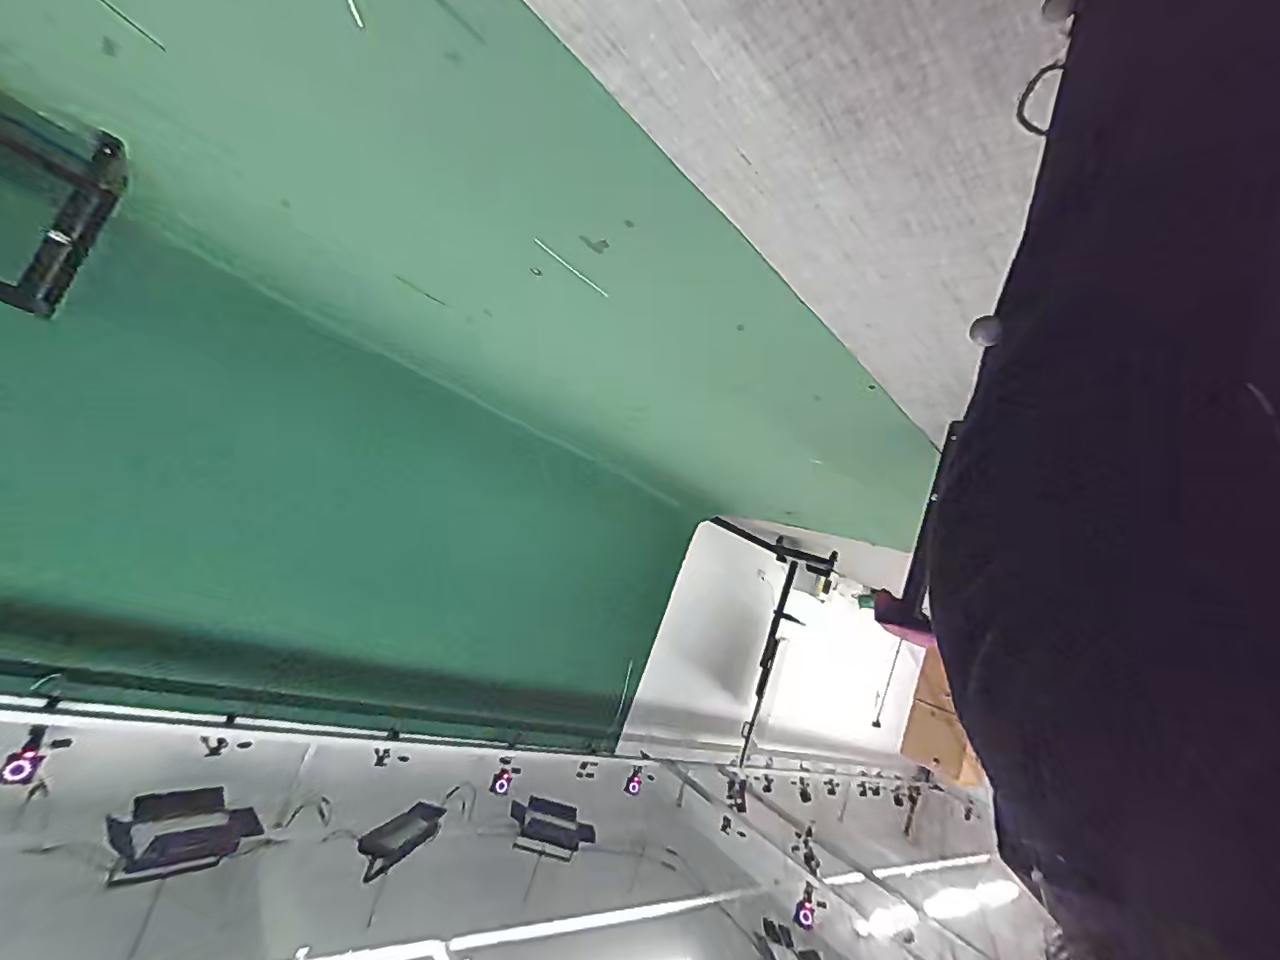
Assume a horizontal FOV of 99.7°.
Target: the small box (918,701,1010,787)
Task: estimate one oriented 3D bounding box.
[{"bbox_3d":[0.936,0.756,1.556,0.179,0.176,0.168,27,167,-36],"label":"small box"}]
